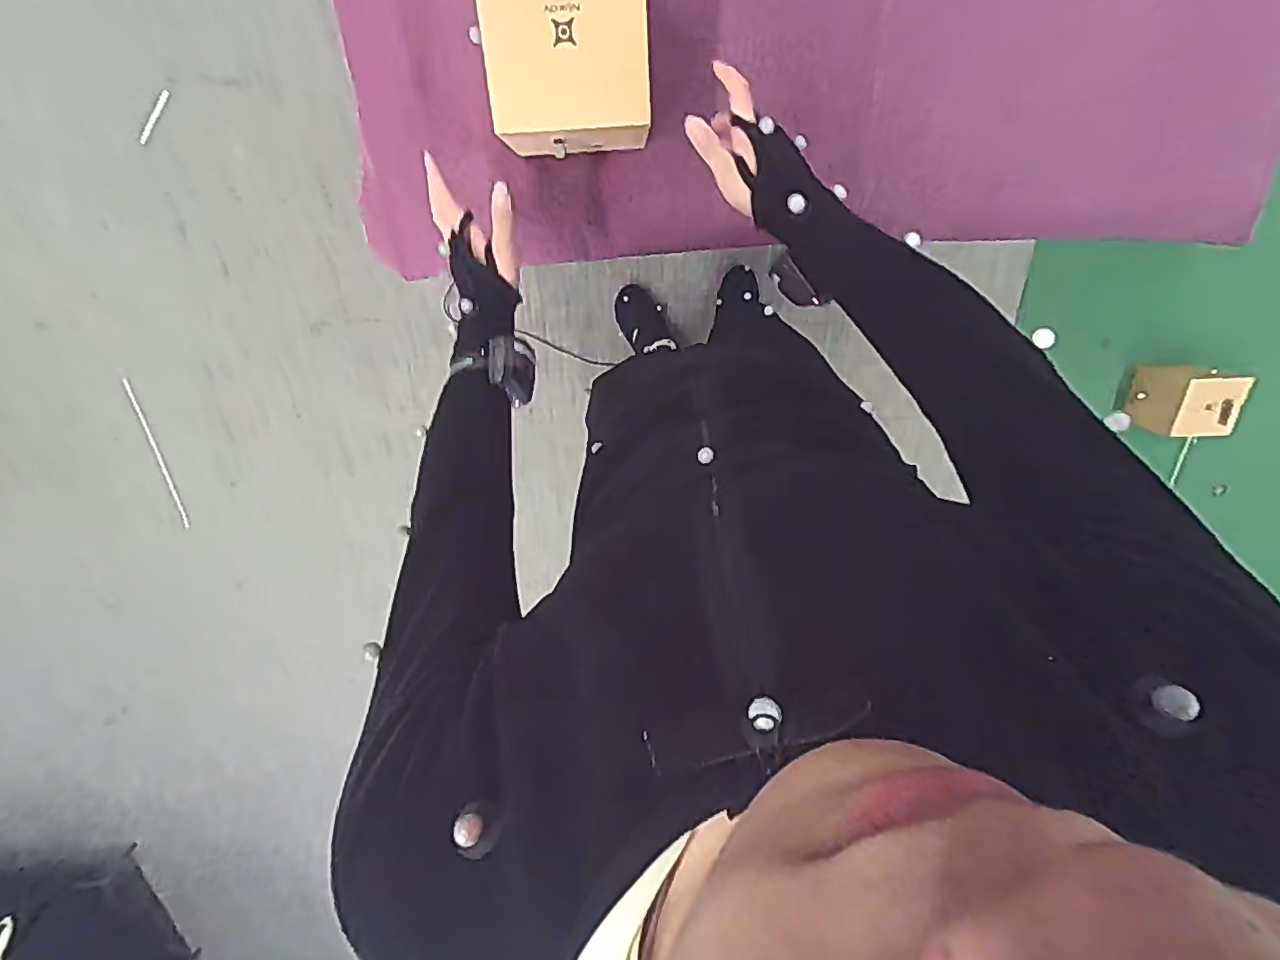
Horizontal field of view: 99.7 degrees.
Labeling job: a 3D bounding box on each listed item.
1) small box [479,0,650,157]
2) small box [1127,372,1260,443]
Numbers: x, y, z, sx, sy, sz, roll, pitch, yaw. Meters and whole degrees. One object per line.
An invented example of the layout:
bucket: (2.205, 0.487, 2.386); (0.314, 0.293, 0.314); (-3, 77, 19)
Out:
small box: (-0.073, -0.471, 0.603); (0.168, 0.176, 0.179); (-4, 113, 0)
small box: (1.564, -0.211, 1.541); (0.179, 0.176, 0.168); (-1, 113, 0)
